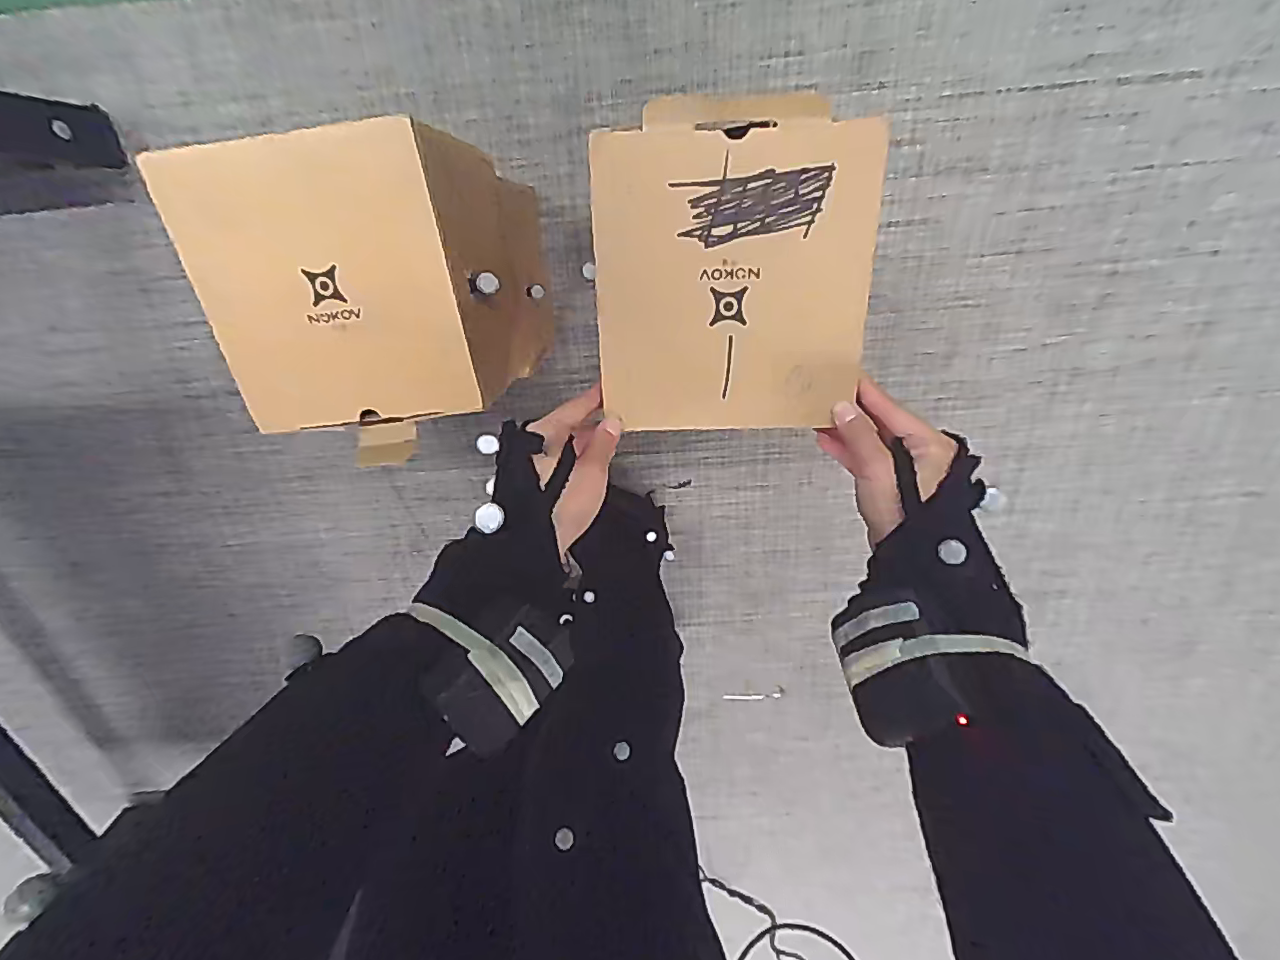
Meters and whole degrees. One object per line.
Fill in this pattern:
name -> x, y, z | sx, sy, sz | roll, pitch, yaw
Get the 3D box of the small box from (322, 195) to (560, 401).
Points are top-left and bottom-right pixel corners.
small box -> -0.188, -0.198, 0.578 | 0.168, 0.176, 0.179 | -5, 115, 4

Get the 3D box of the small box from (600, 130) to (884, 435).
small box -> 0.063, -0.140, 0.409 | 0.168, 0.176, 0.179 | -1, 111, 4
